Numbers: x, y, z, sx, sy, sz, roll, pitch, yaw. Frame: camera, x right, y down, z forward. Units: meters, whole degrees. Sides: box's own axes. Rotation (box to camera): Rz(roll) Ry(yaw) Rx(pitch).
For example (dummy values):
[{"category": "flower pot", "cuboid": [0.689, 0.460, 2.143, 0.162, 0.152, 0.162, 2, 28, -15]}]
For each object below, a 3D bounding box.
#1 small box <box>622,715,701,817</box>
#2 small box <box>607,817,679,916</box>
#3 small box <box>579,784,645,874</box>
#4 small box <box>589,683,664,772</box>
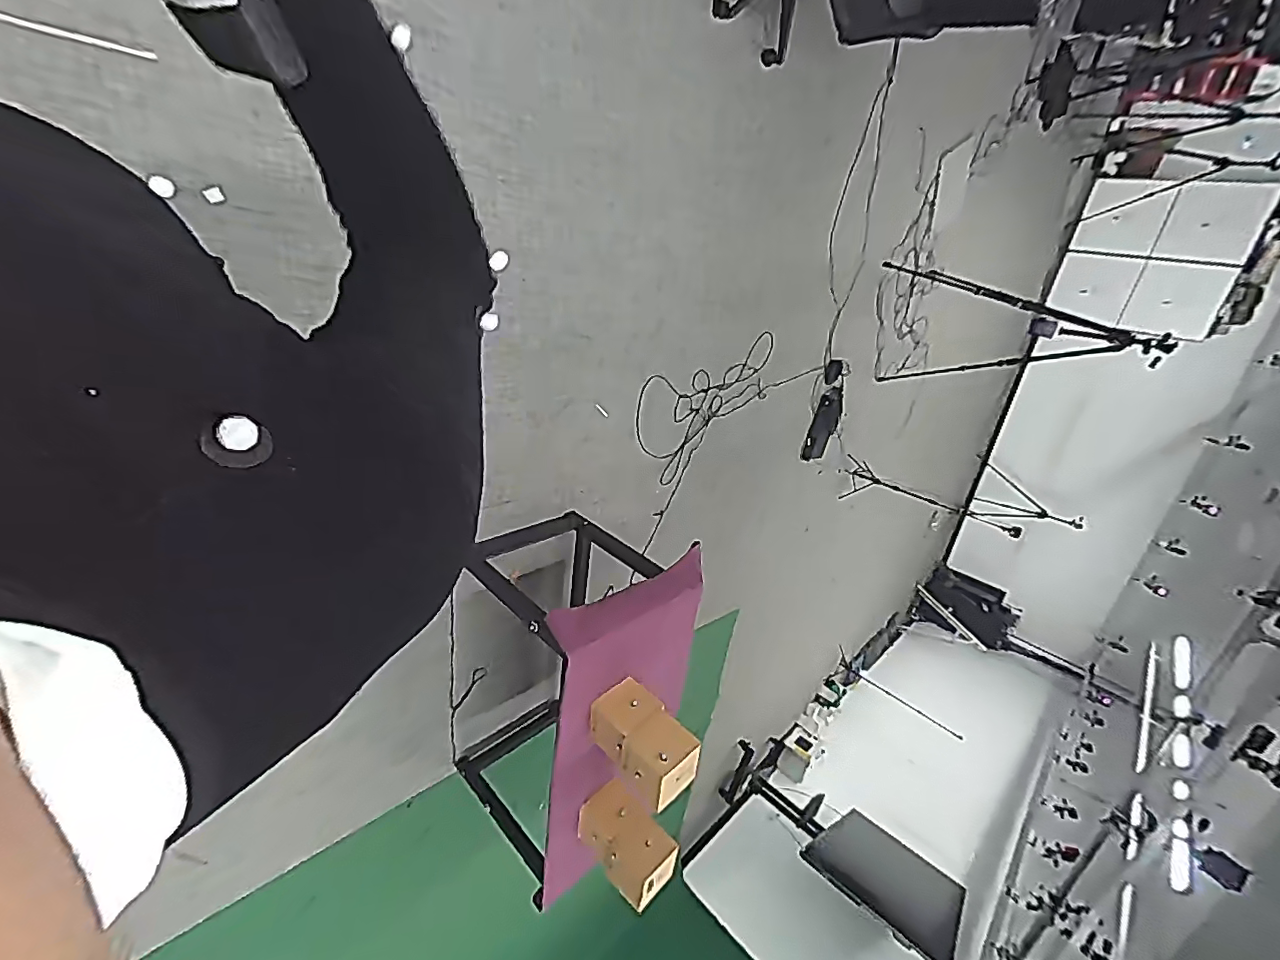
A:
[{"category": "small box", "cuboid": [0.061, 0.867, 1.655, 0.179, 0.176, 0.168, -21, 127, -42]}, {"category": "small box", "cuboid": [0.008, 1.317, 1.854, 0.179, 0.176, 0.168, -16, 122, -47]}, {"category": "small box", "cuboid": [-0.106, 1.259, 1.959, 0.179, 0.176, 0.168, -19, 124, -44]}, {"category": "small box", "cuboid": [-0.044, 0.804, 1.767, 0.179, 0.176, 0.168, -23, 126, -41]}]
